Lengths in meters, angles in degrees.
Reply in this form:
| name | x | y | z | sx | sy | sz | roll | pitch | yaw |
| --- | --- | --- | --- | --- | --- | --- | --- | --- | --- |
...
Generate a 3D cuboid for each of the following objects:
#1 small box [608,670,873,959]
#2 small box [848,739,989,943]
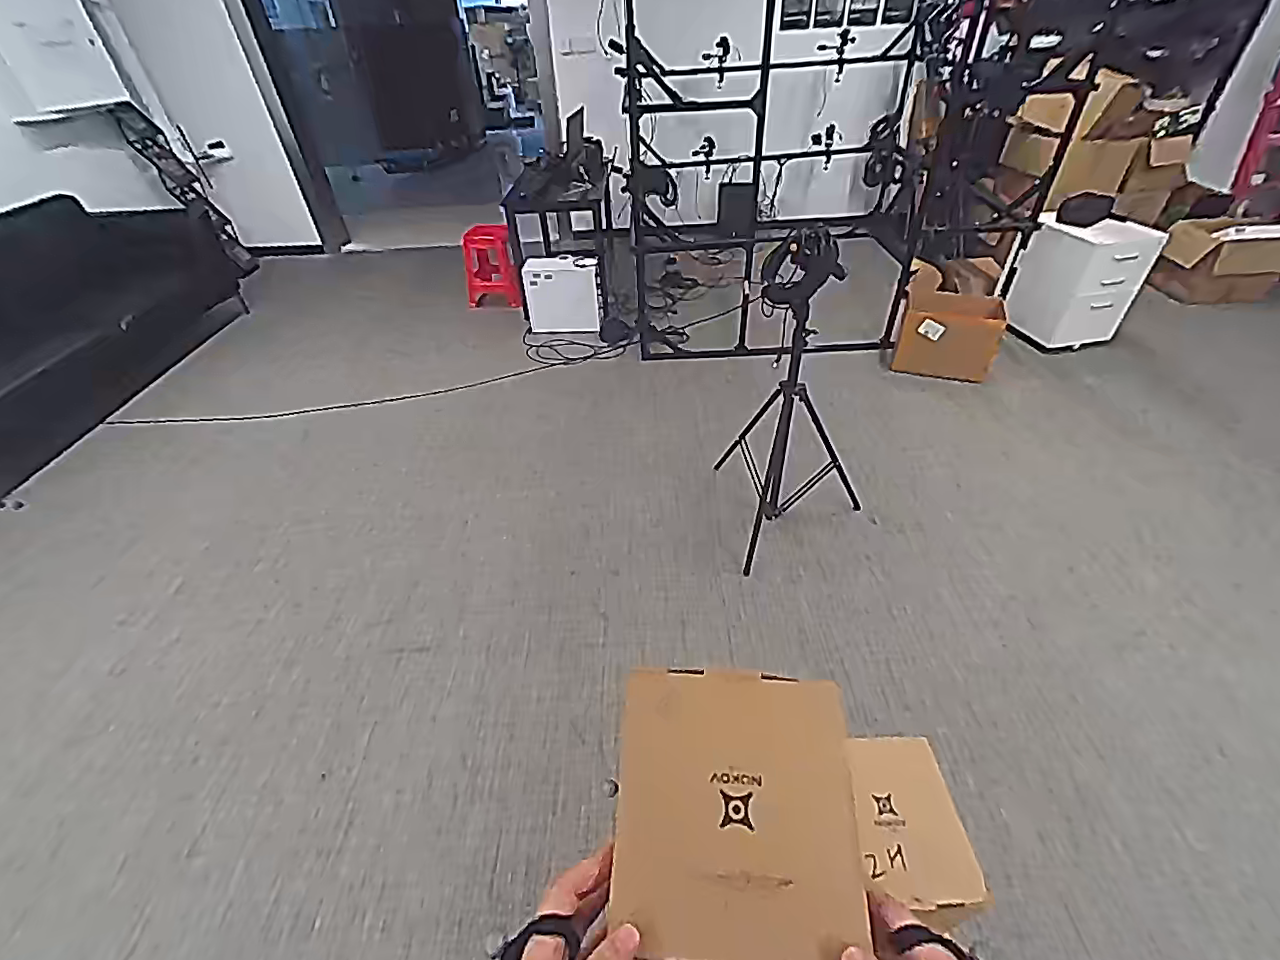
| name | x | y | z | sx | sy | sz | roll | pitch | yaw |
| --- | --- | --- | --- | --- | --- | --- | --- | --- | --- |
| small box | 0.066 | 0.271 | 0.439 | 0.168 | 0.176 | 0.179 | 4 | 57 | 2 |
| small box | 0.281 | 0.449 | 0.675 | 0.168 | 0.176 | 0.179 | -1 | 41 | 0 |
